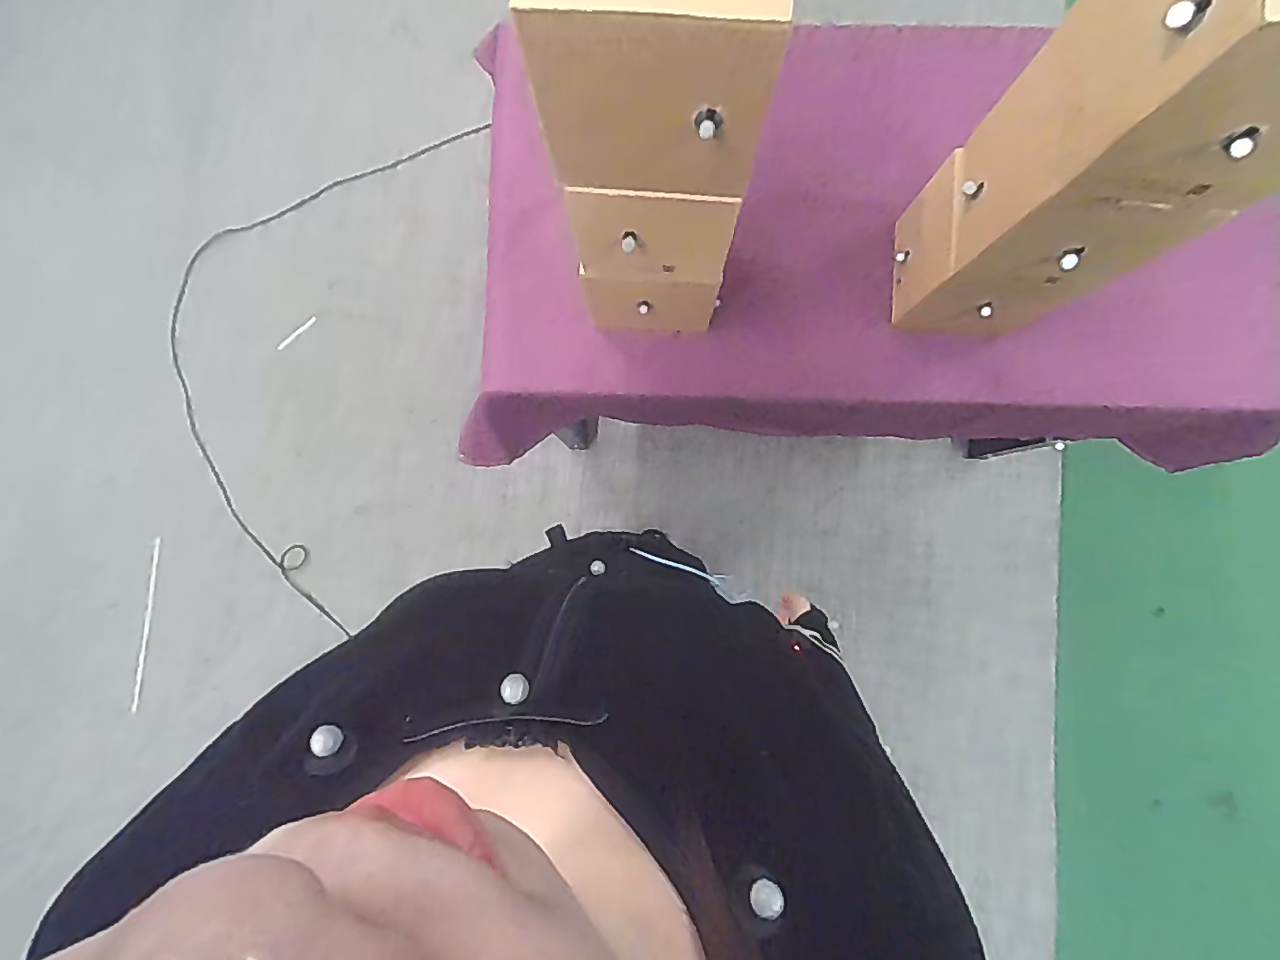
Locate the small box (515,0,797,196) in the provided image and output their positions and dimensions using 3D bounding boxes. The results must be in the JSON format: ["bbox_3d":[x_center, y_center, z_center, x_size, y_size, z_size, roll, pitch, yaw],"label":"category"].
[{"bbox_3d":[0.017,-0.350,0.420,0.179,0.176,0.168,5,83,1],"label":"small box"}]

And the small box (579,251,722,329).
[{"bbox_3d":[0.018,-0.317,0.744,0.179,0.176,0.168,3,85,1],"label":"small box"}]

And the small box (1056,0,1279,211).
[{"bbox_3d":[0.459,-0.335,0.410,0.168,0.176,0.179,7,85,1],"label":"small box"}]

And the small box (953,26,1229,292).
[{"bbox_3d":[0.463,-0.321,0.575,0.168,0.176,0.179,8,86,1],"label":"small box"}]

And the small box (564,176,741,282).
[{"bbox_3d":[0.020,-0.334,0.582,0.168,0.176,0.179,5,84,1],"label":"small box"}]
